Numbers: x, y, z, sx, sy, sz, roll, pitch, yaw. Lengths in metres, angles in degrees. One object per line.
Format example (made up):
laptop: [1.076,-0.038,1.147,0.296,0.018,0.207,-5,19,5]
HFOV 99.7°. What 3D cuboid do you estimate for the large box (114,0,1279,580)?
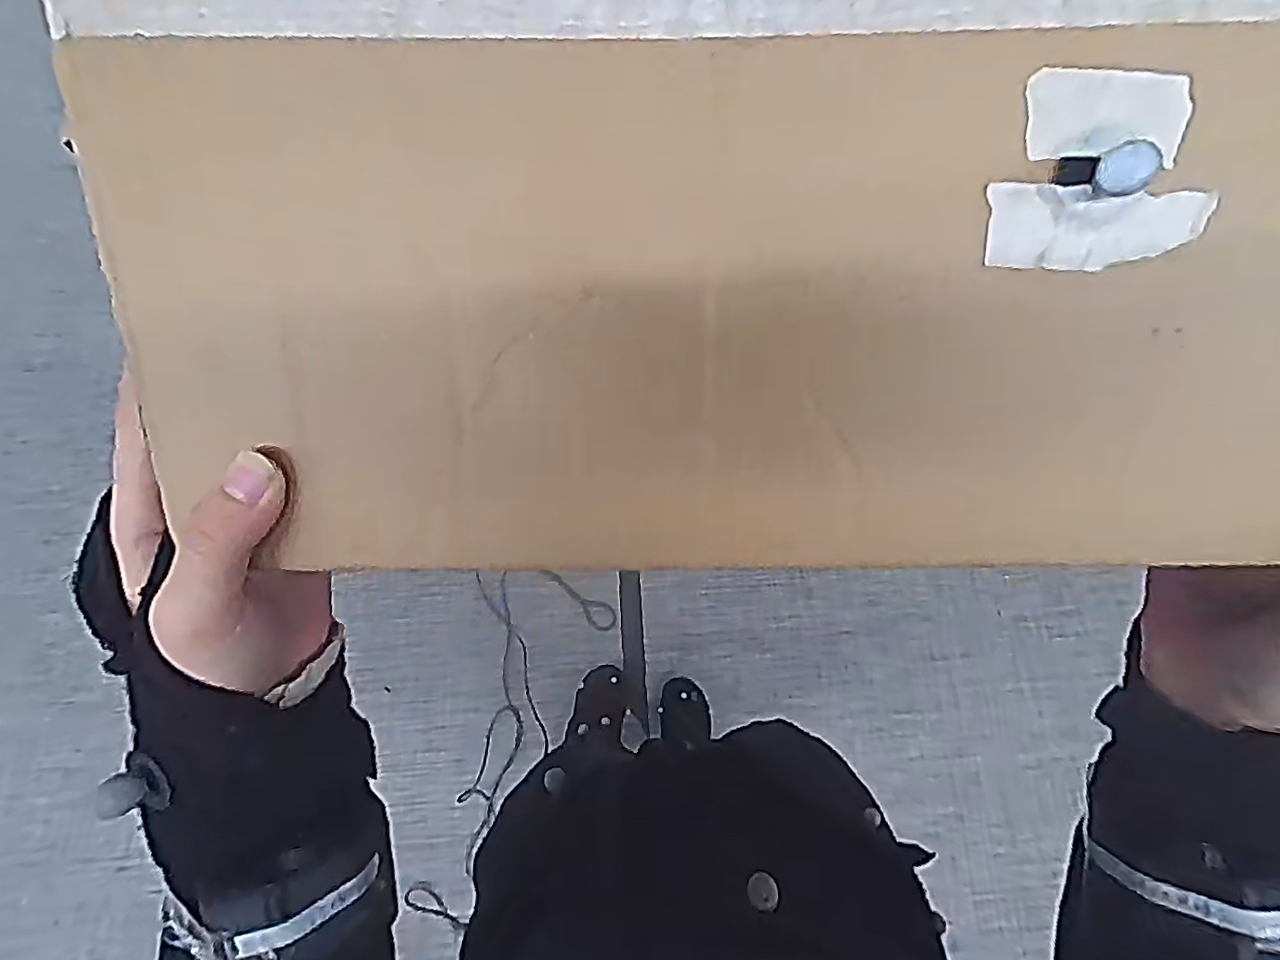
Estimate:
large box: [0.052,-0.153,0.296,0.408,0.320,0.320,-1,103,-1]
